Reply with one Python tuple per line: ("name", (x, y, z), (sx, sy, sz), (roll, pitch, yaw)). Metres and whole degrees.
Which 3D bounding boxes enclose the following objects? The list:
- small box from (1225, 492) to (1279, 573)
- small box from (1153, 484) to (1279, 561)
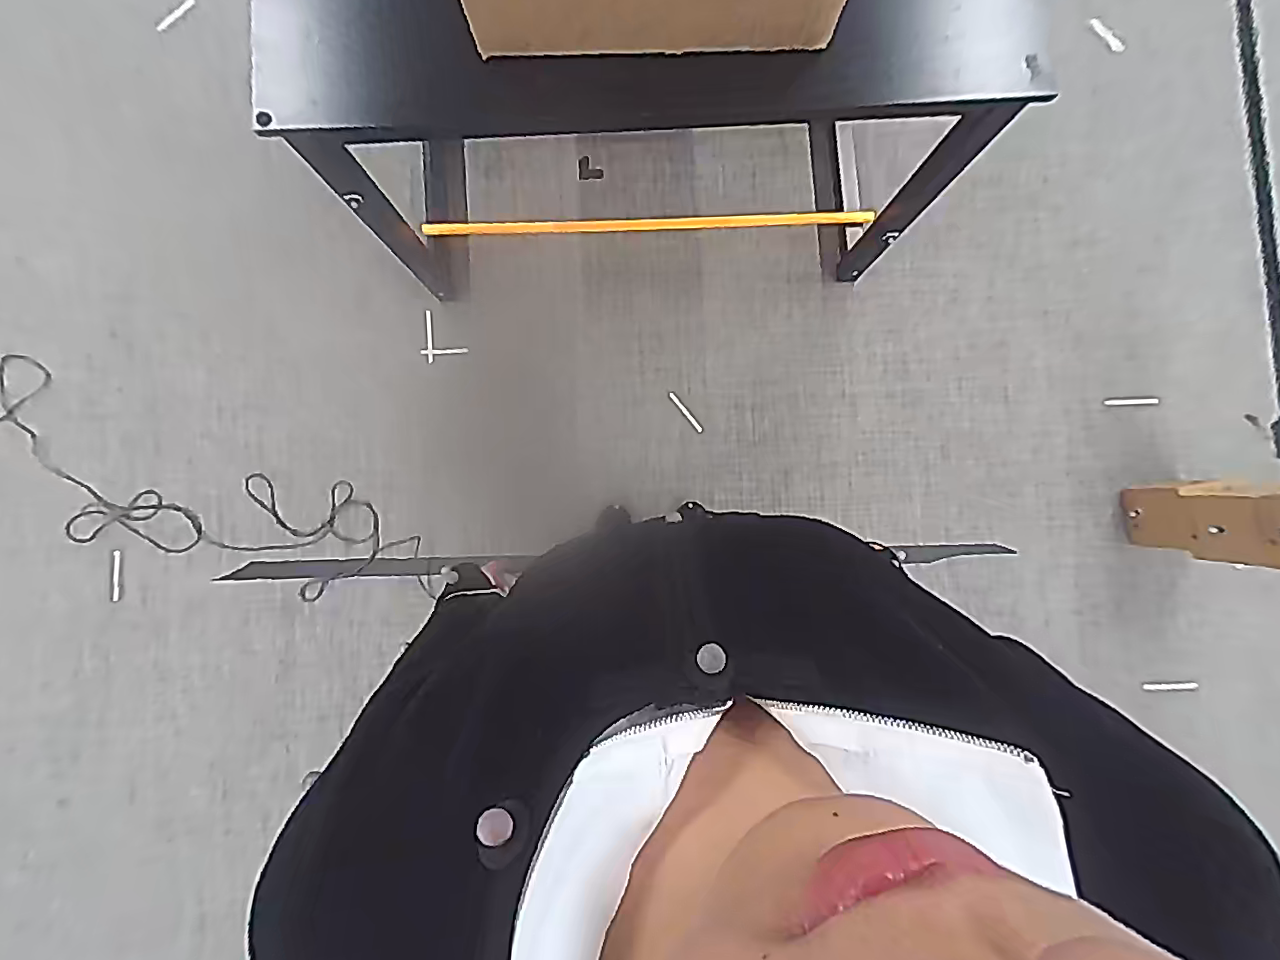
("small box", (1.476, 0.115, 1.208), (0.179, 0.176, 0.168), (-10, 88, -1))
("small box", (1.474, 0.103, 1.372), (0.179, 0.176, 0.168), (-9, 87, 0))
